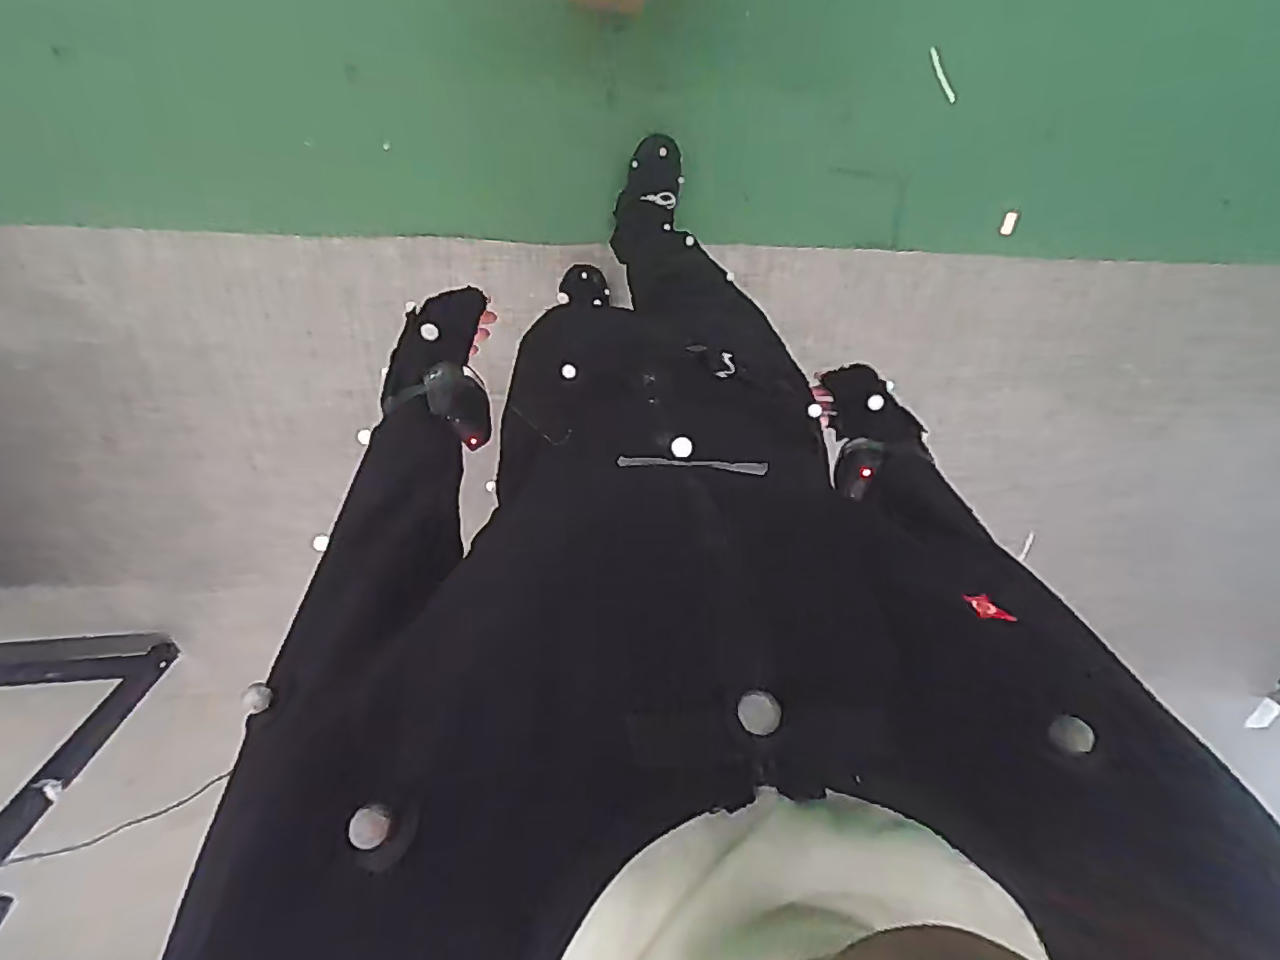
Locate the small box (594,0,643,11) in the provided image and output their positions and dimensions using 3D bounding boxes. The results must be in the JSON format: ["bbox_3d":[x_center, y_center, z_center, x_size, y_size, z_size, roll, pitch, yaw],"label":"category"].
[{"bbox_3d":[-0.057,-0.926,0.902,0.168,0.176,0.179,3,117,-11],"label":"small box"}]
